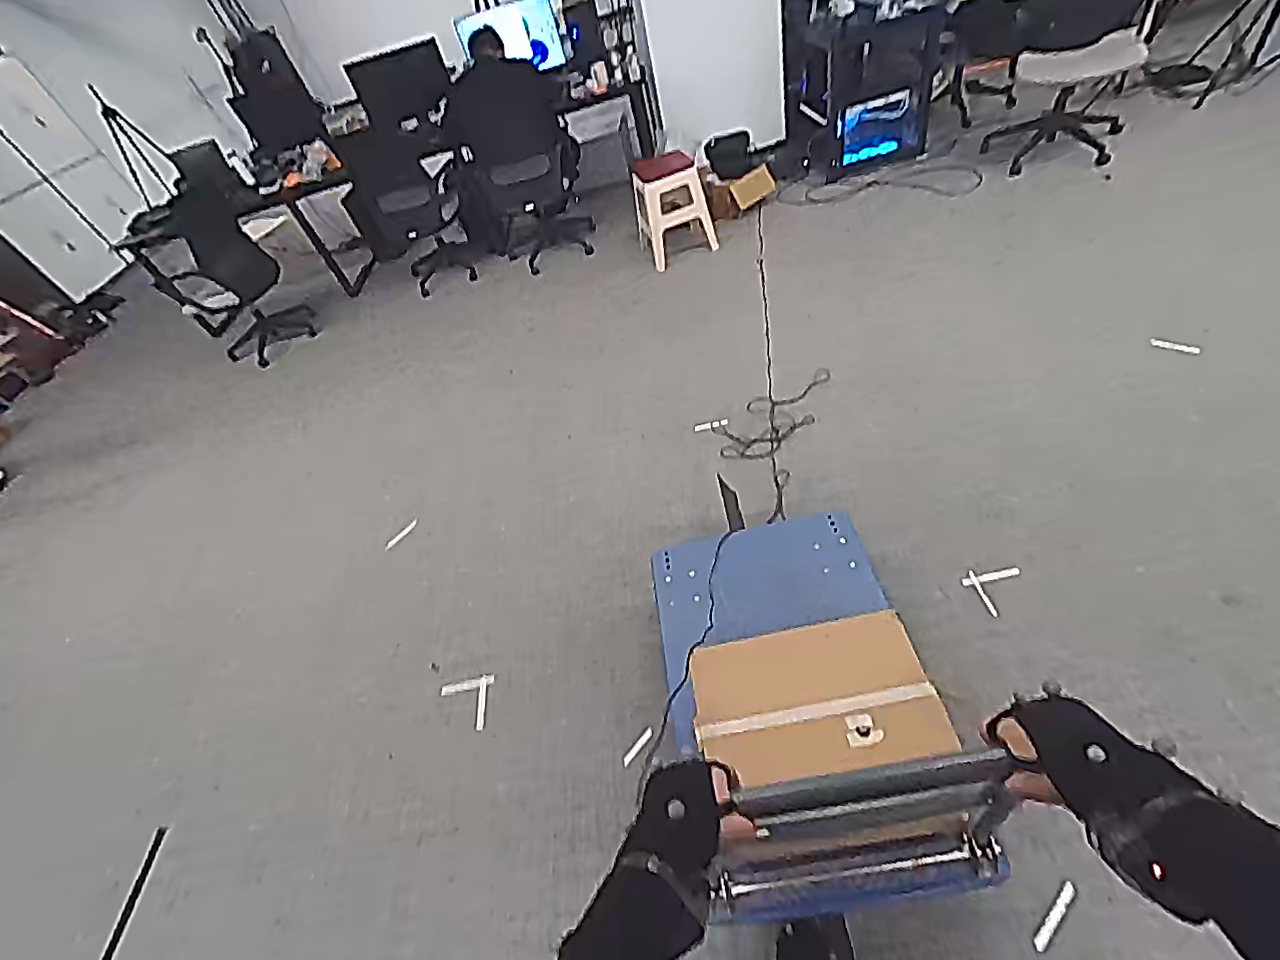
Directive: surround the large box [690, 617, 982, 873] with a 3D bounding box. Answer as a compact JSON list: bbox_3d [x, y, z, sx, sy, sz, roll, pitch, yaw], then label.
[{"bbox_3d":[0.334,0.508,1.025,0.408,0.320,0.320,-13,47,6],"label":"large box"}]
